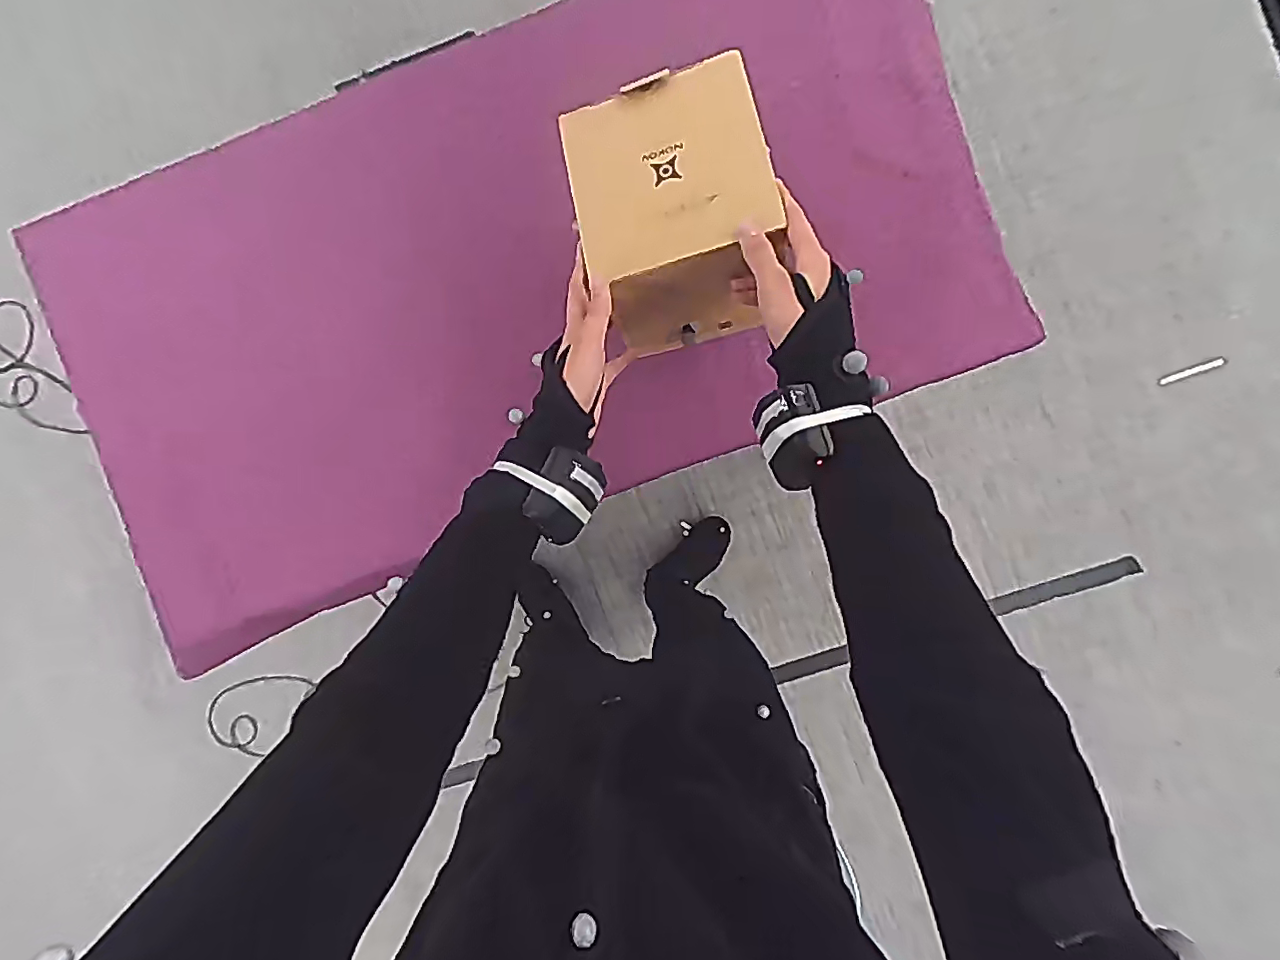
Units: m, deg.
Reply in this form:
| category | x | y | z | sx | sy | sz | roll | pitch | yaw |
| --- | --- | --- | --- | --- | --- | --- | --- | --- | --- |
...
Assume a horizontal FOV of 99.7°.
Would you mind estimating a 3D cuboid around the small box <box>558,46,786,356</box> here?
| category | x | y | z | sx | sy | sz | roll | pitch | yaw |
| --- | --- | --- | --- | --- | --- | --- | --- | --- | --- |
| small box | 0.037 | -0.245 | 0.518 | 0.168 | 0.176 | 0.179 | -13 | 79 | 11 |
